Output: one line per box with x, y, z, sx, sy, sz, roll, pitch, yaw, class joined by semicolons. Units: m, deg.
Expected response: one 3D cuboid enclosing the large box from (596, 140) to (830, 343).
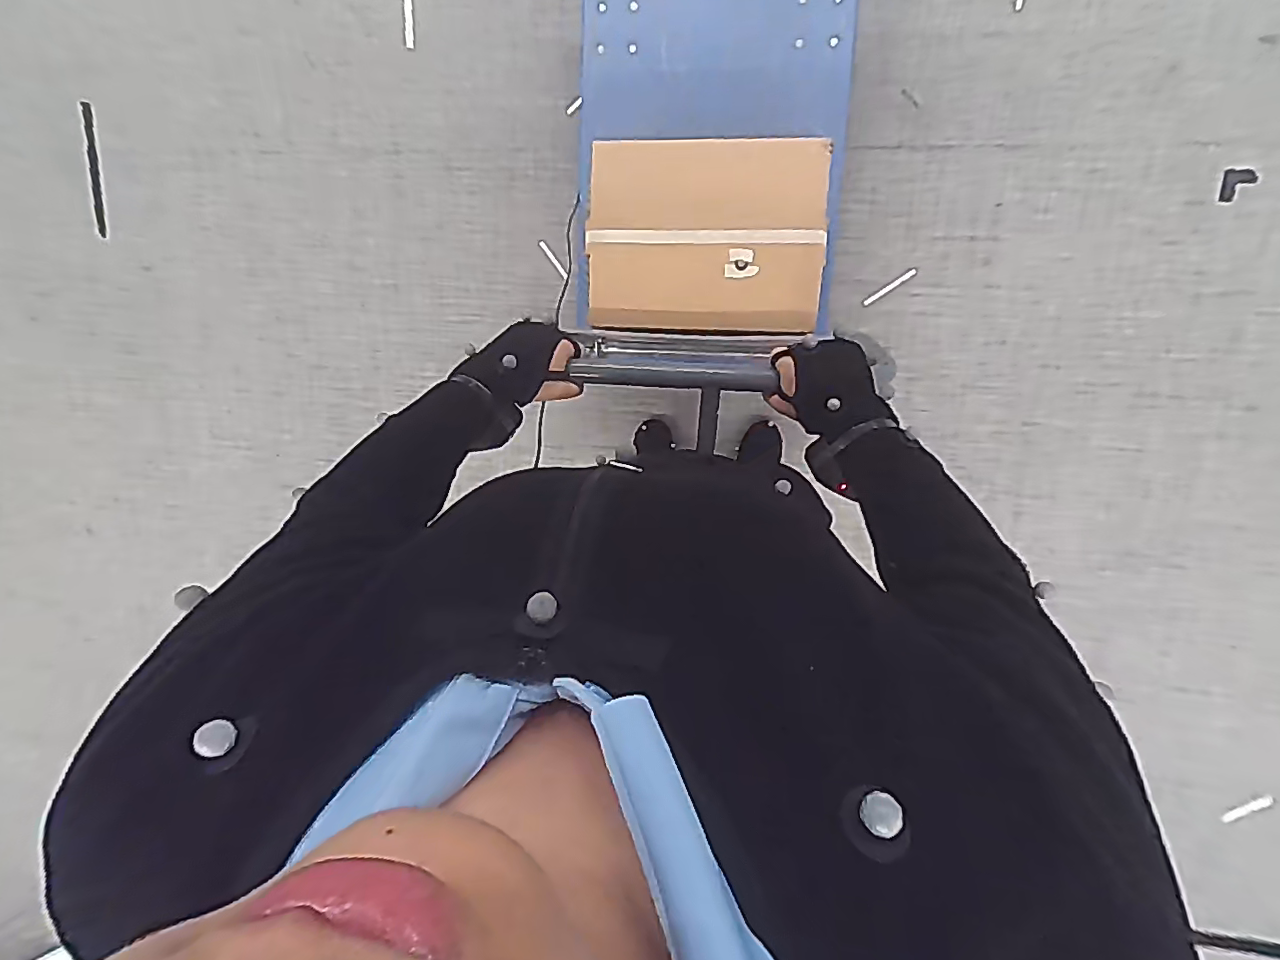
0.134;-0.449;1.096;0.408;0.320;0.320;3;101;6;large box
